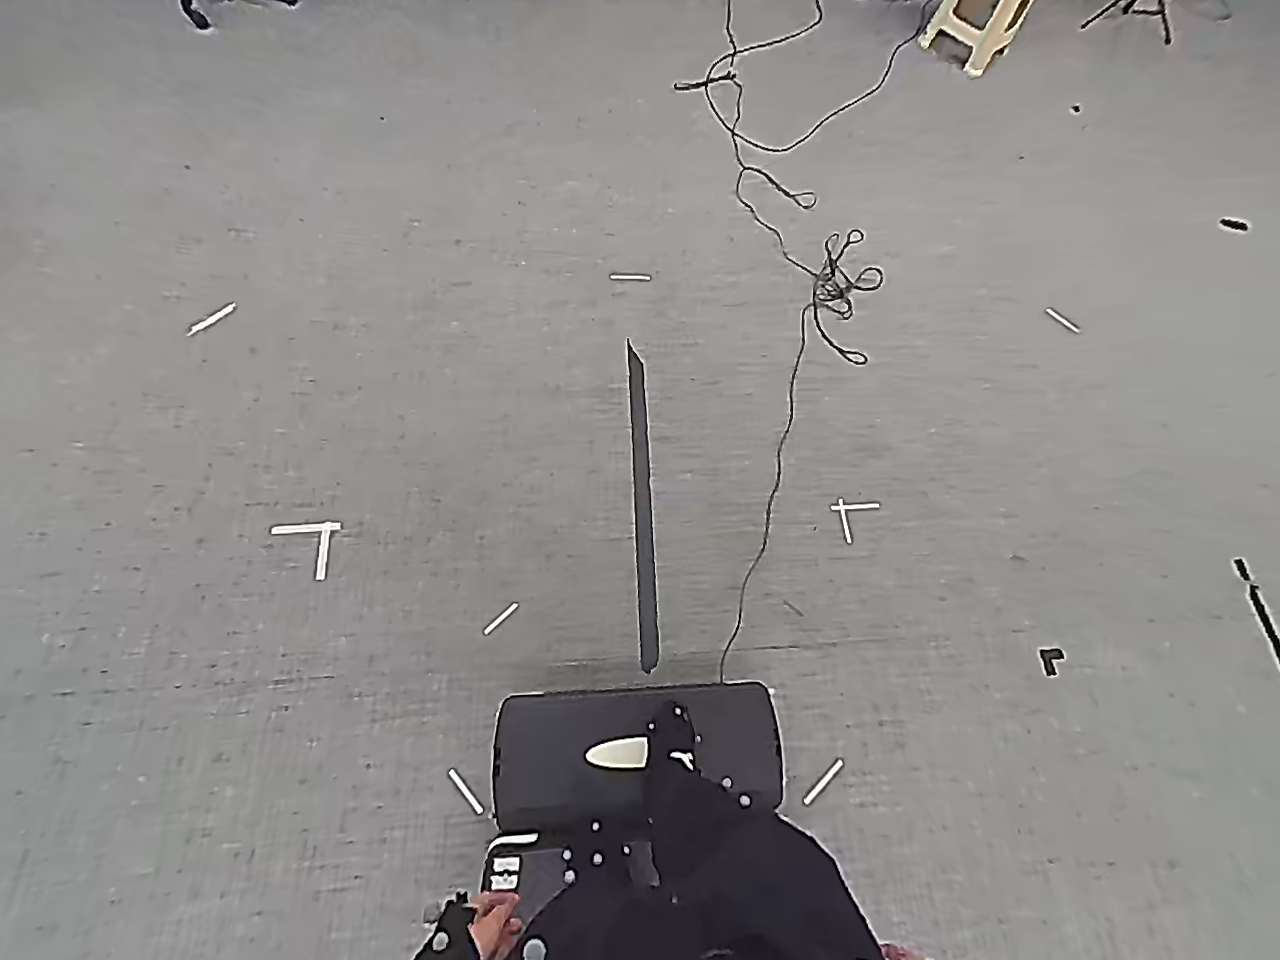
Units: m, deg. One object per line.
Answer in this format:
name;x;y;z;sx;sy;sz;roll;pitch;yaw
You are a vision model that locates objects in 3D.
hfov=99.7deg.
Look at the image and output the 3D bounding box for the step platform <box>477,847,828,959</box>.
step platform;0.025;0.929;1.091;0.684;0.204;0.286;2;65;-3
